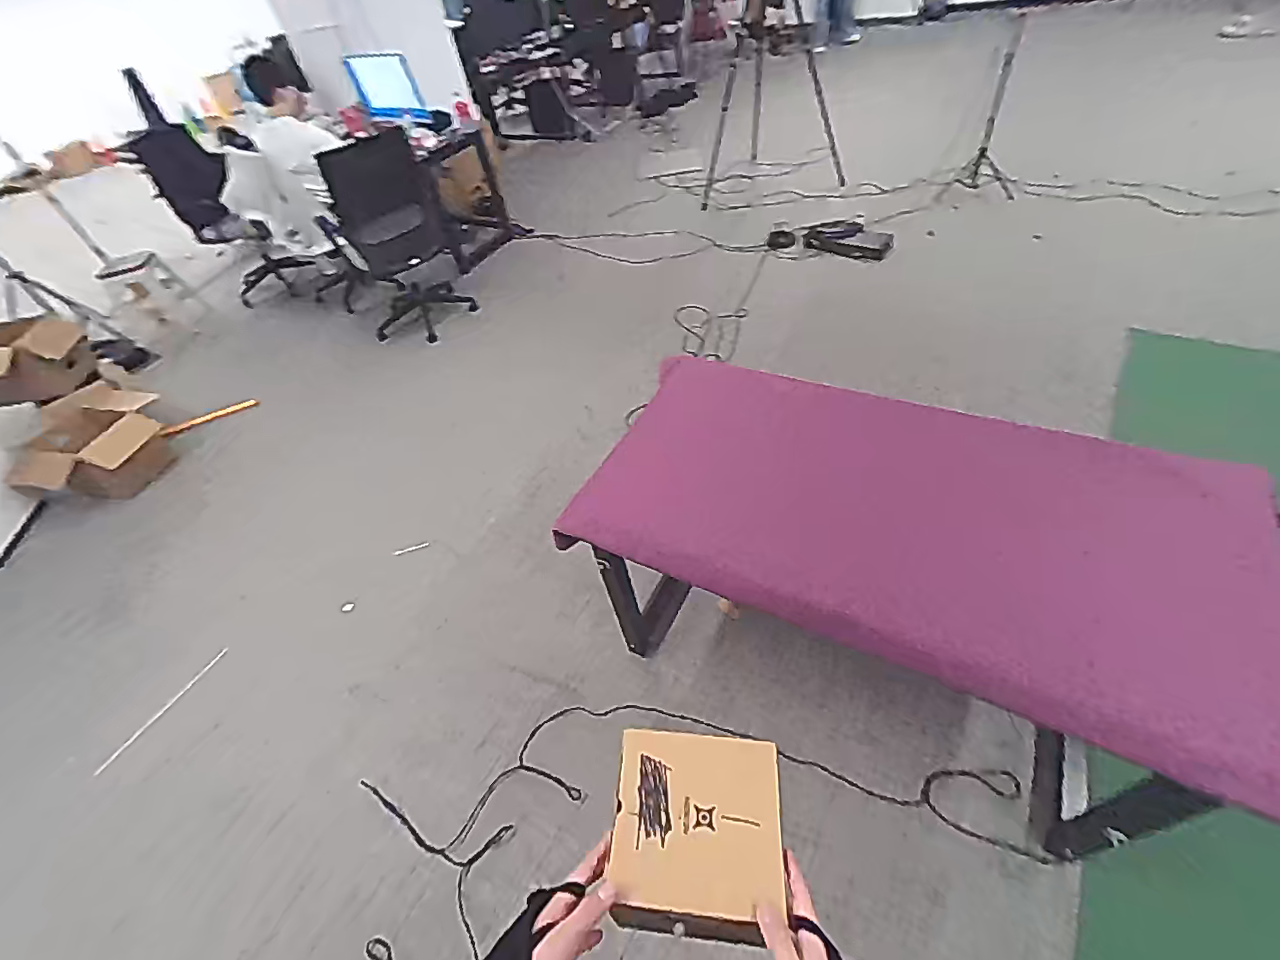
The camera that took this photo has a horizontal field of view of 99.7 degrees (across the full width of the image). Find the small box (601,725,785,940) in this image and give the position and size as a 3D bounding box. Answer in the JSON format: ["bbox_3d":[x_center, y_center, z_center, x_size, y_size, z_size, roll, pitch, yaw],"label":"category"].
[{"bbox_3d":[0.062,0.402,0.617,0.179,0.176,0.168,2,45,6],"label":"small box"}]
